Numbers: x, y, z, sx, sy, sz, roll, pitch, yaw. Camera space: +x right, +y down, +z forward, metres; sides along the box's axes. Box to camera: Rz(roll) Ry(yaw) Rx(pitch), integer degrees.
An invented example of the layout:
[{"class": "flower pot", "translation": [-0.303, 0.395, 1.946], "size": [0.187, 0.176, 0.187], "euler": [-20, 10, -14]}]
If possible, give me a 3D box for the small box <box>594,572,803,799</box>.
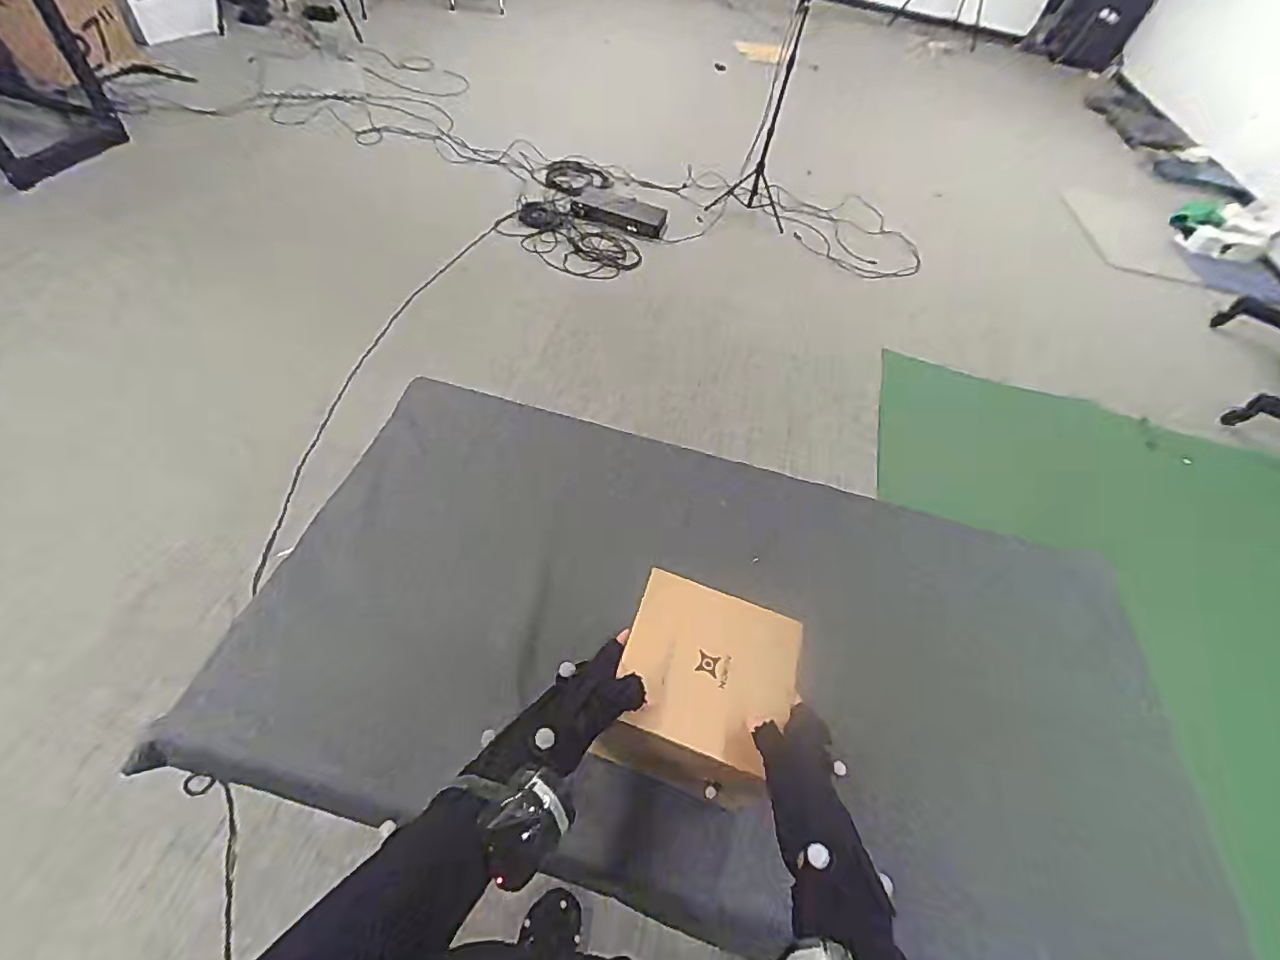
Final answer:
[{"class": "small box", "translation": [0.060, 0.236, 0.605], "size": [0.179, 0.176, 0.168], "euler": [19, 51, 5]}]
